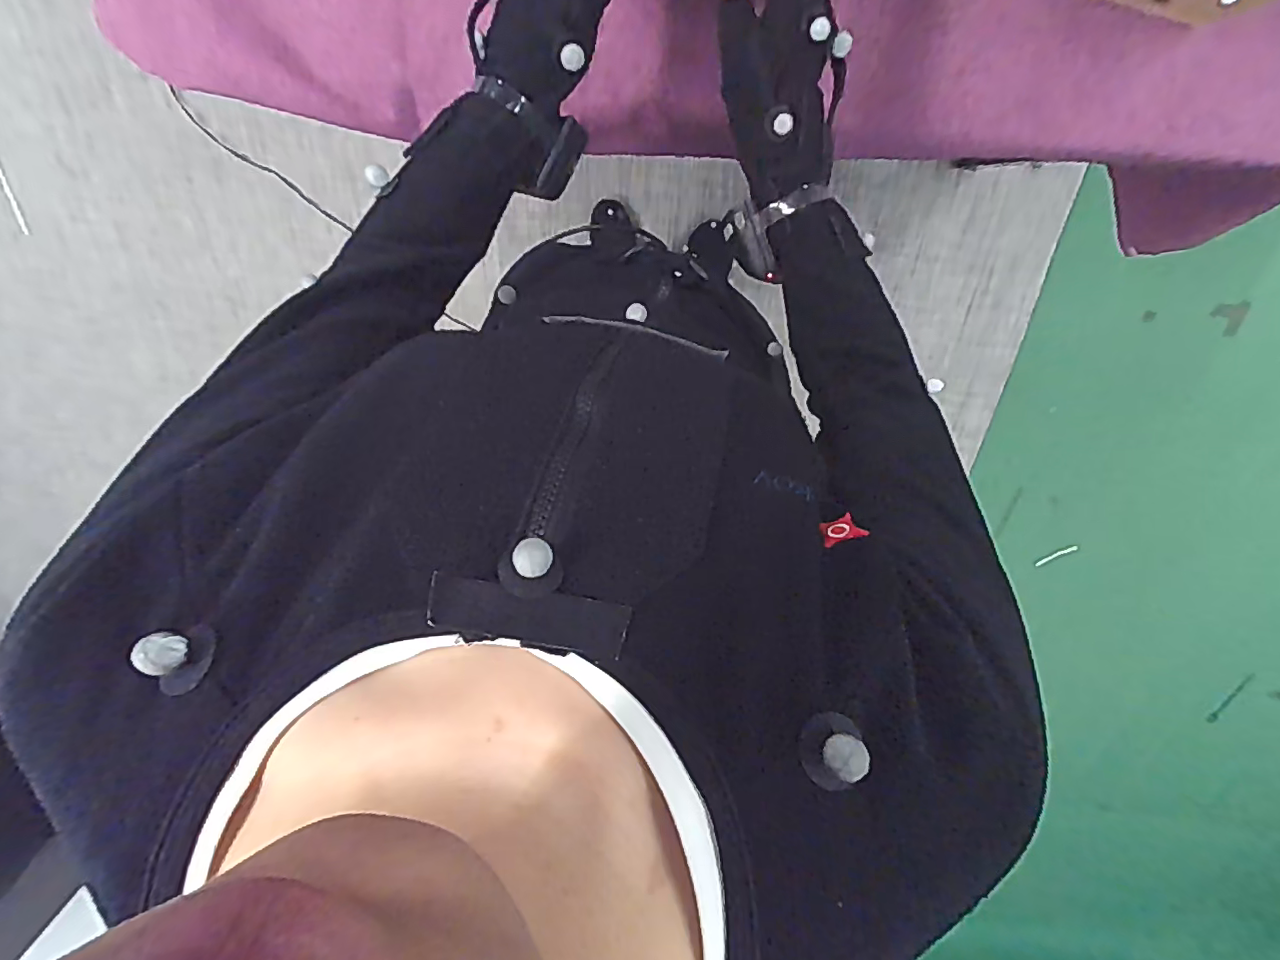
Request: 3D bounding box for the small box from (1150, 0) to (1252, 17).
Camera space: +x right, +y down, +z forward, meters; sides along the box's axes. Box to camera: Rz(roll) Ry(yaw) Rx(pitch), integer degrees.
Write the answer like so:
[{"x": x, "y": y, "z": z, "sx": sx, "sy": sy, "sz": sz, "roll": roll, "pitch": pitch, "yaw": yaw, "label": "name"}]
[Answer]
[{"x": 0.449, "y": -0.470, "z": 0.378, "sx": 0.168, "sy": 0.176, "sz": 0.179, "roll": 14, "pitch": 118, "yaw": -3, "label": "small box"}]
